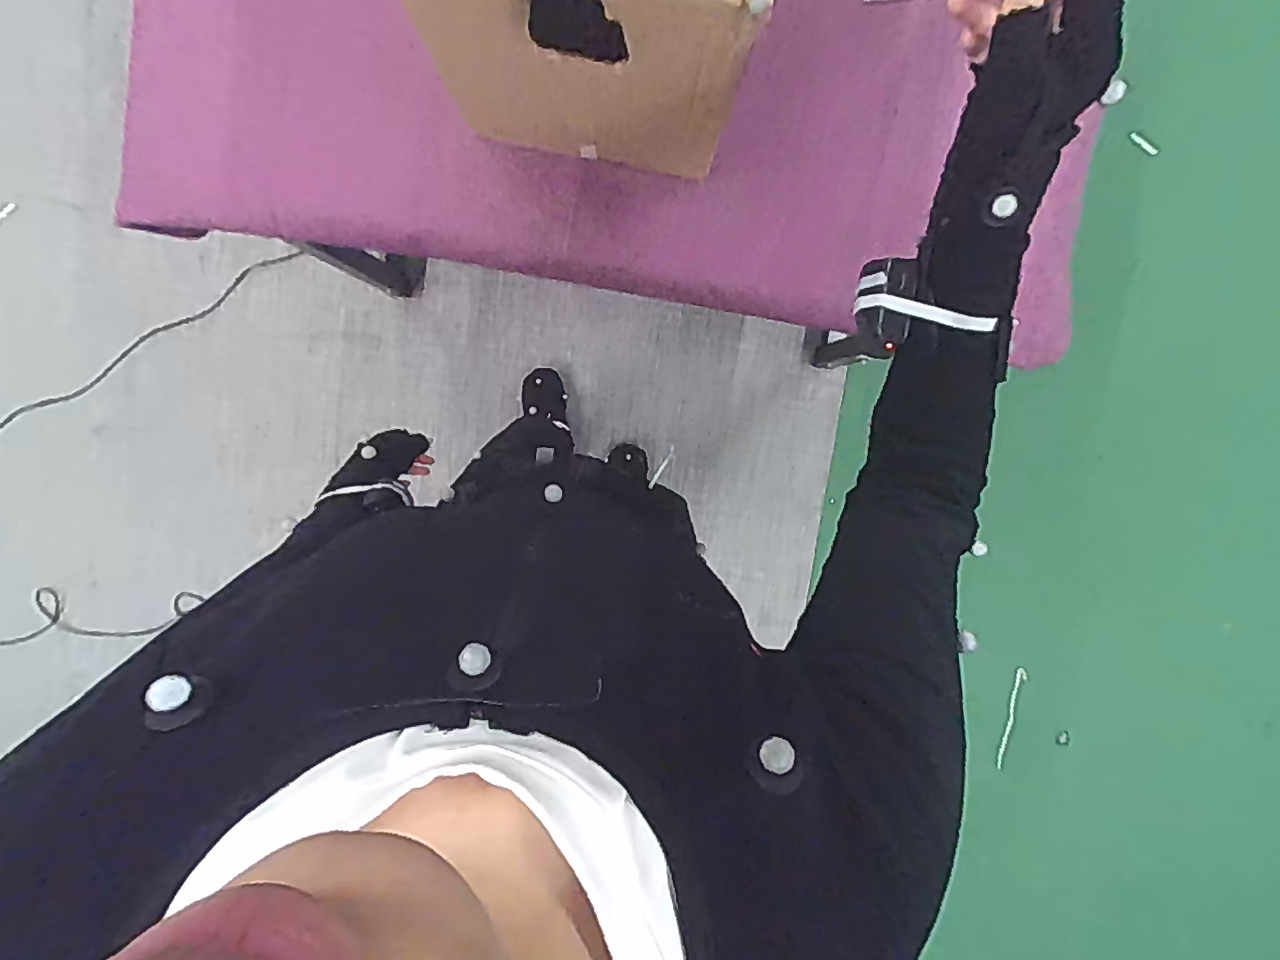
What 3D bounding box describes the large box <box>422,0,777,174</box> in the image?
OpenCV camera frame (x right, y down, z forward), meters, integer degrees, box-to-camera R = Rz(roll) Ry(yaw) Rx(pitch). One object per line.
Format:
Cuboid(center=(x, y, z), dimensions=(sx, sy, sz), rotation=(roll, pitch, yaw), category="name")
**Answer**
Cuboid(center=(-0.019, -0.603, 0.539), dimensions=(0.320, 0.320, 0.408), rotation=(10, 98, -3), category="large box")
